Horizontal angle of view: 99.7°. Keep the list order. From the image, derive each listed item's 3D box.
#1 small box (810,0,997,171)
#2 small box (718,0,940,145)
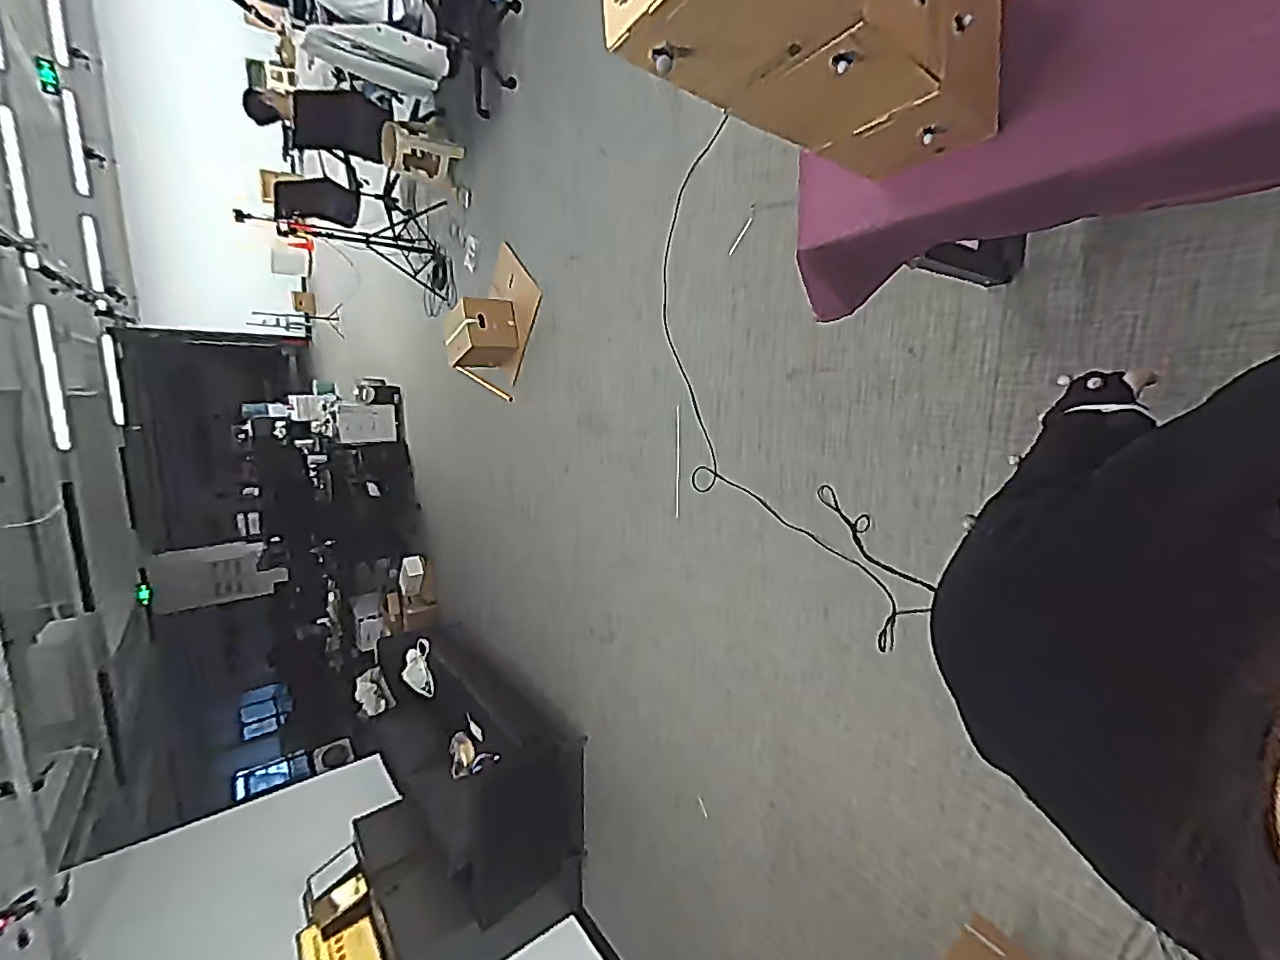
[{"bbox_3d":[0.336,-0.524,0.695,0.168,0.176,0.179,6,100,51],"label":"small box"},{"bbox_3d":[0.206,-0.509,0.599,0.179,0.176,0.168,3,98,50],"label":"small box"}]
